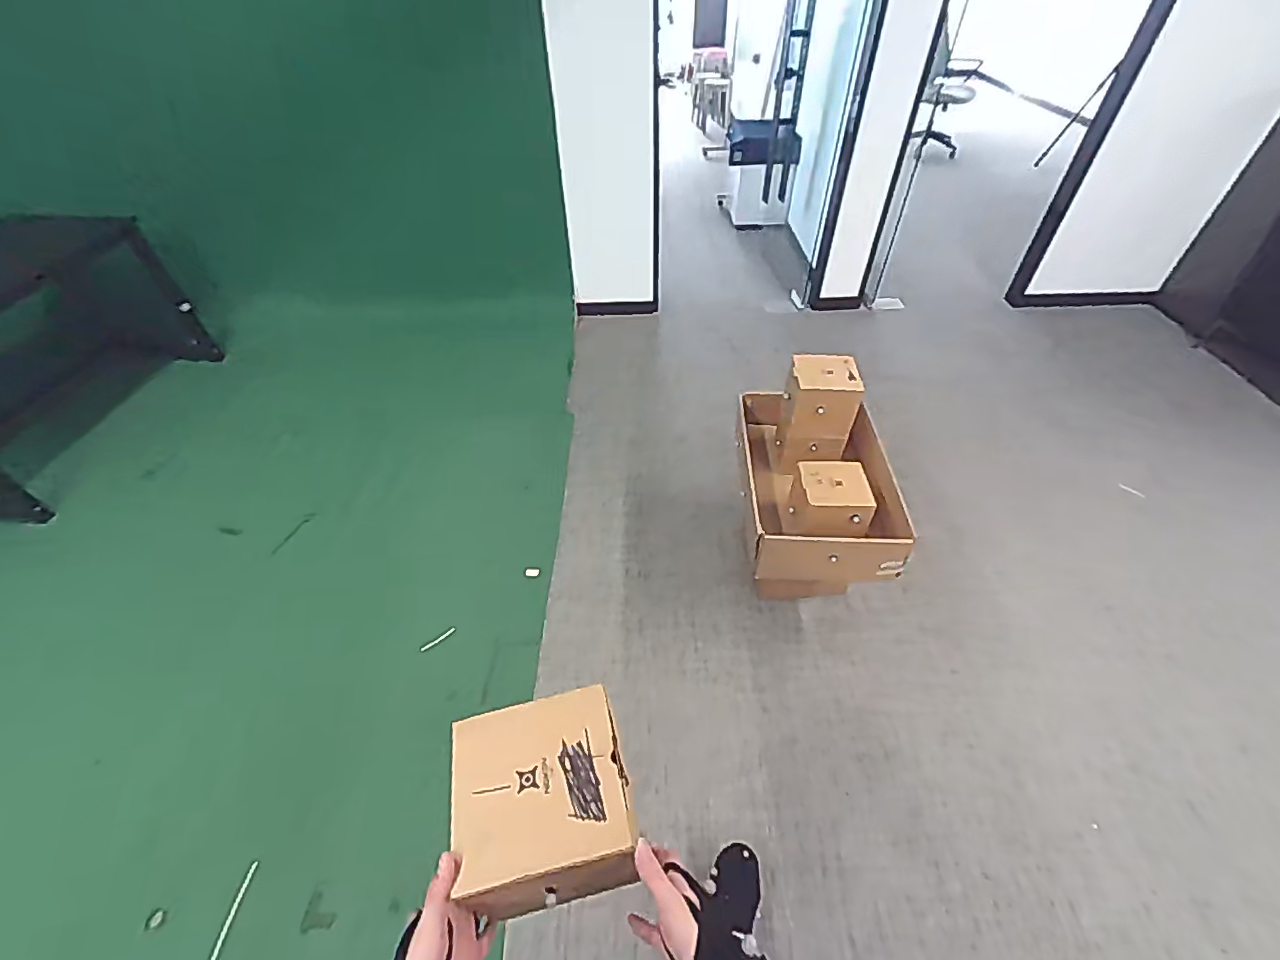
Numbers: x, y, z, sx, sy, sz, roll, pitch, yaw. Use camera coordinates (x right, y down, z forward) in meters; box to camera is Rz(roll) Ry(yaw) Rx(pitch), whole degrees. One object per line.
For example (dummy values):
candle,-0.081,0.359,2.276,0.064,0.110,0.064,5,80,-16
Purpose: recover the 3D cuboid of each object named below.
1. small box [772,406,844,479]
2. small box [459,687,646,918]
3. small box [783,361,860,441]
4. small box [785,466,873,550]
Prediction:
small box,0.516,-0.112,1.690,0.179,0.176,0.168,4,46,3
small box,-0.092,0.363,0.609,0.179,0.176,0.168,-12,45,-6
small box,0.518,-0.228,1.574,0.179,0.176,0.168,3,47,3
small box,0.514,0.080,1.494,0.179,0.176,0.168,1,45,1
